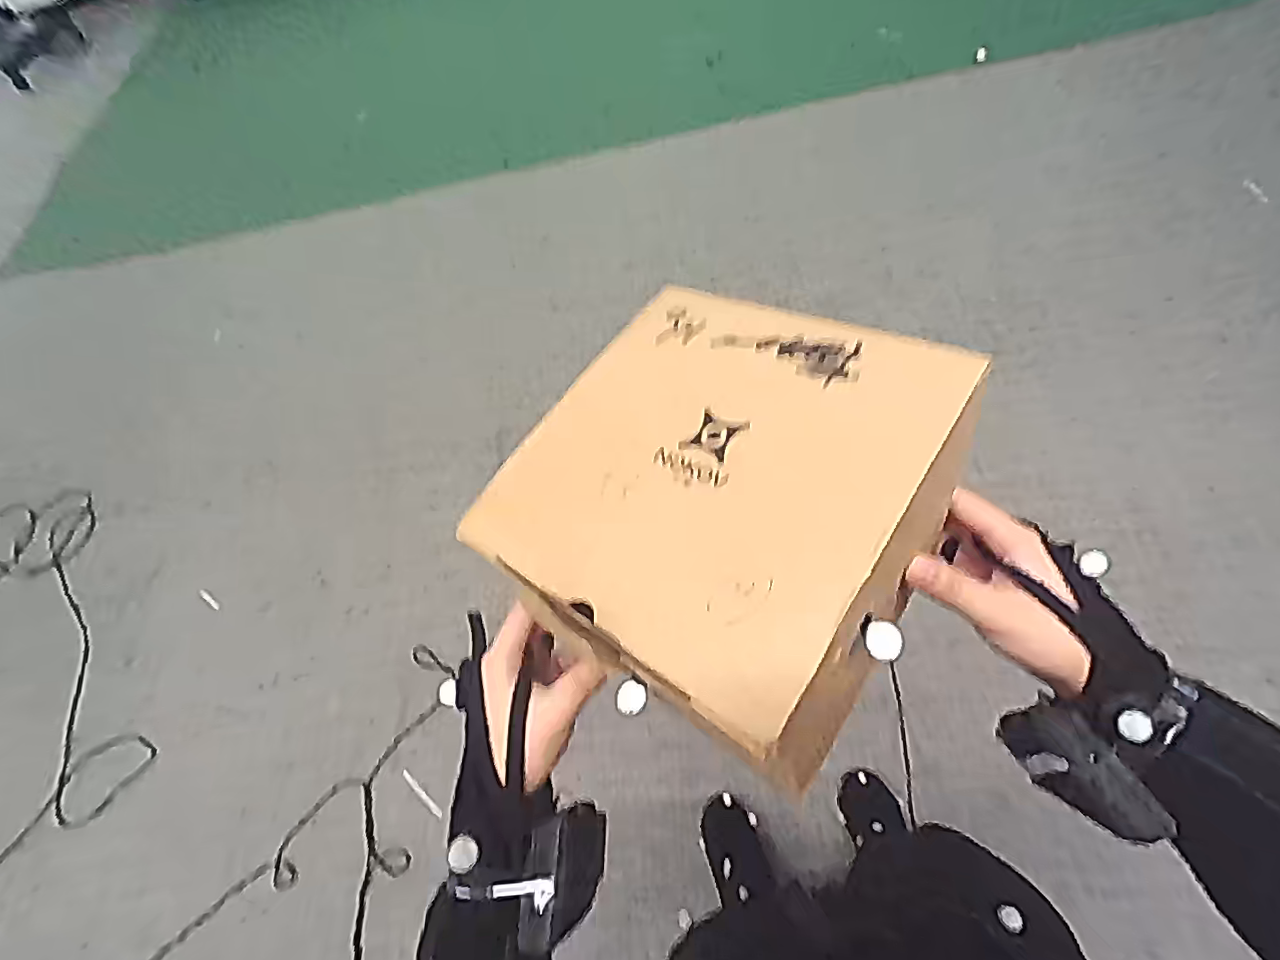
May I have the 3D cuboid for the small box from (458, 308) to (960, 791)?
[{"bbox_3d":[0.046,0.040,0.300,0.168,0.176,0.179,26,69,33],"label":"small box"}]
